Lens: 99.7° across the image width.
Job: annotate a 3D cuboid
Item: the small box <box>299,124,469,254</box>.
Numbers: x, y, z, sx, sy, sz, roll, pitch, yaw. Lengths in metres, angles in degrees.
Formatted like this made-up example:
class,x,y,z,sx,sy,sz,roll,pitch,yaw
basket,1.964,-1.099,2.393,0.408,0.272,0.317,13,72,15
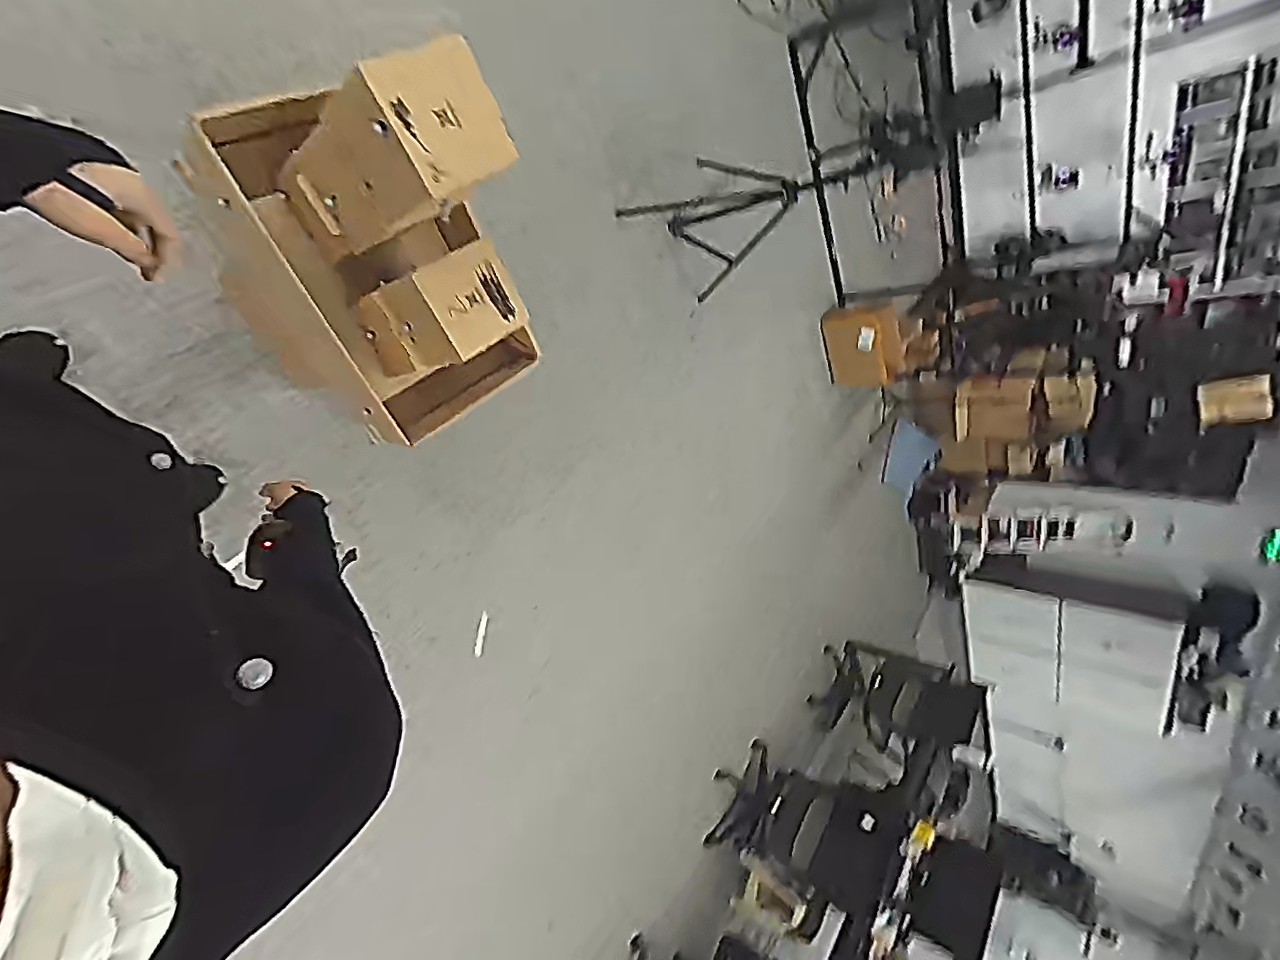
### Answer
class,x,y,z,sx,sy,sz,roll,pitch,yaw
small box,-0.438,-0.510,0.923,0.179,0.176,0.168,-46,124,-31

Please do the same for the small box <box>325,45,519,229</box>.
class,x,y,z,sx,sy,sz,roll,pitch,yaw
small box,-0.323,-0.501,0.805,0.179,0.176,0.168,-47,125,-32

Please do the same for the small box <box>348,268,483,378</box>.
class,x,y,z,sx,sy,sz,roll,pitch,yaw
small box,-0.475,-0.328,1.145,0.179,0.176,0.168,-41,121,-33
